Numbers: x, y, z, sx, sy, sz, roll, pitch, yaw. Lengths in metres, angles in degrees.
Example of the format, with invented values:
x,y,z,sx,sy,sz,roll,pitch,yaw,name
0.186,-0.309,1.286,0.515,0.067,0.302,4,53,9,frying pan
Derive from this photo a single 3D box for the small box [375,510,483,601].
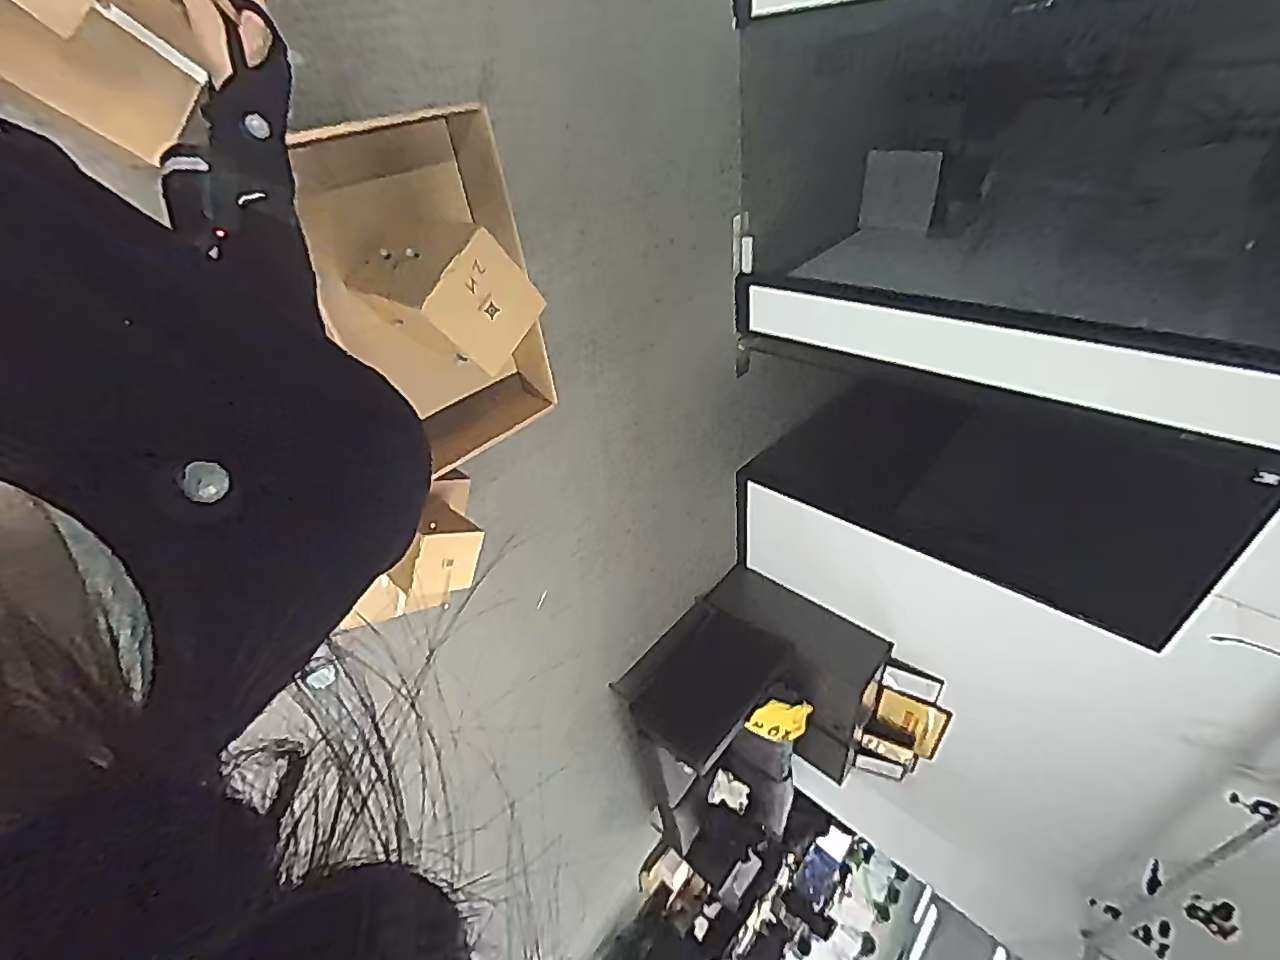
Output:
x,y,z,sx,sy,sz,roll,pitch,yaw,name
-0.536,0.182,1.371,0.179,0.176,0.168,1,110,-53,small box

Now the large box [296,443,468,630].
x,y,z,sx,sy,sz,roll,pitch,yaw,name
-0.730,0.135,1.517,0.320,0.320,0.408,-4,115,-50,large box

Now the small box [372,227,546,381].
x,y,z,sx,sy,sz,roll,pitch,yaw,name
-0.300,-0.298,0.903,0.168,0.176,0.179,-57,143,-10,small box
